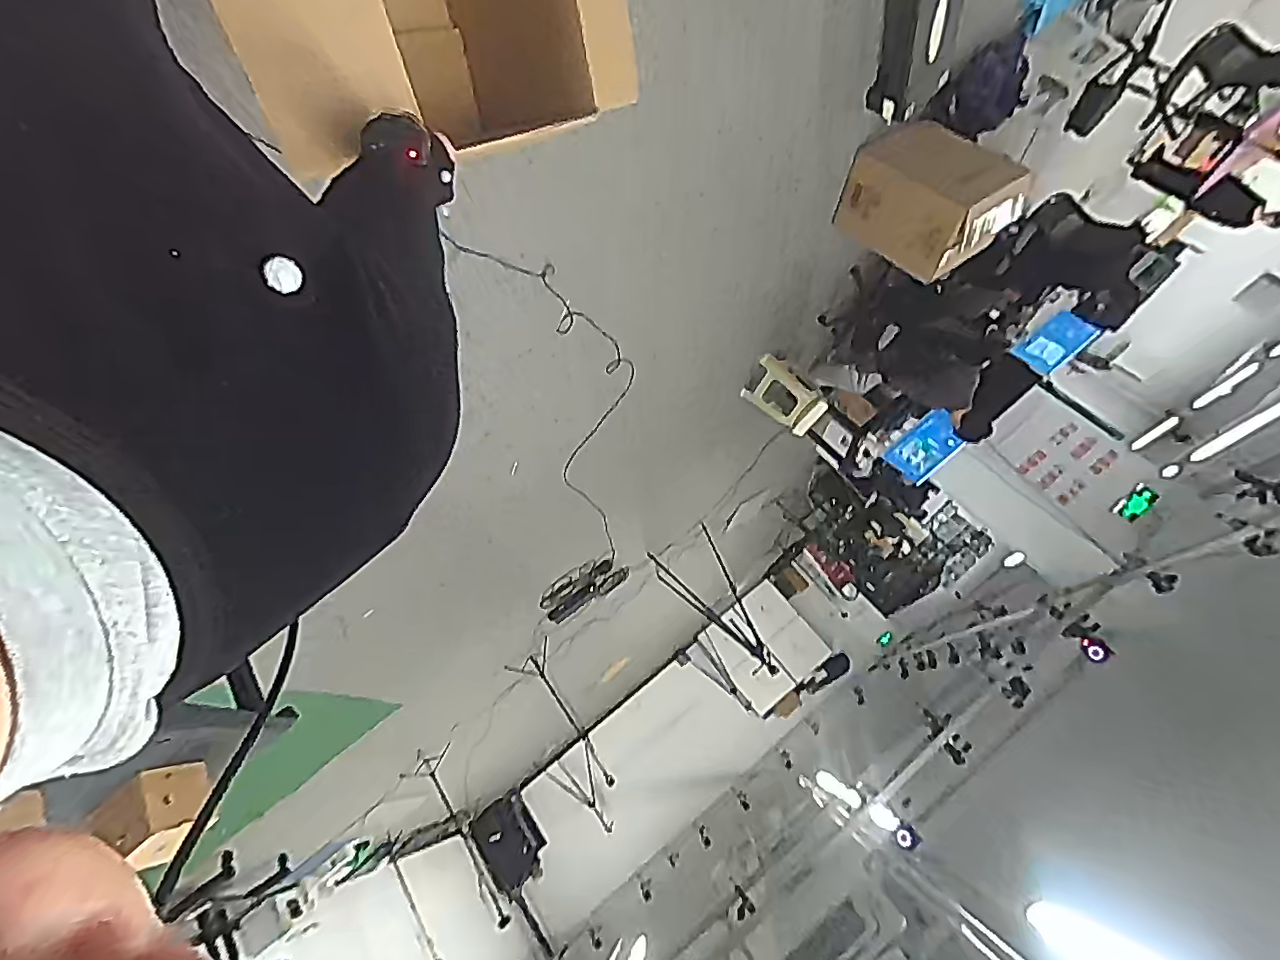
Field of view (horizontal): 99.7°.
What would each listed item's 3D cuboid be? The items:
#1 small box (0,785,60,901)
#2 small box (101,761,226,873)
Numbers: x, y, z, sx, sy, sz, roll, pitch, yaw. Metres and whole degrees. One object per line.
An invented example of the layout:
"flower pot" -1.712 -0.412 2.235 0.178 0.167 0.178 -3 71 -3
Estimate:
"small box" -1.309 0.724 1.048 0.168 0.176 0.179 -37 155 -9
"small box" -1.225 0.846 1.387 0.179 0.176 0.168 -39 155 1
